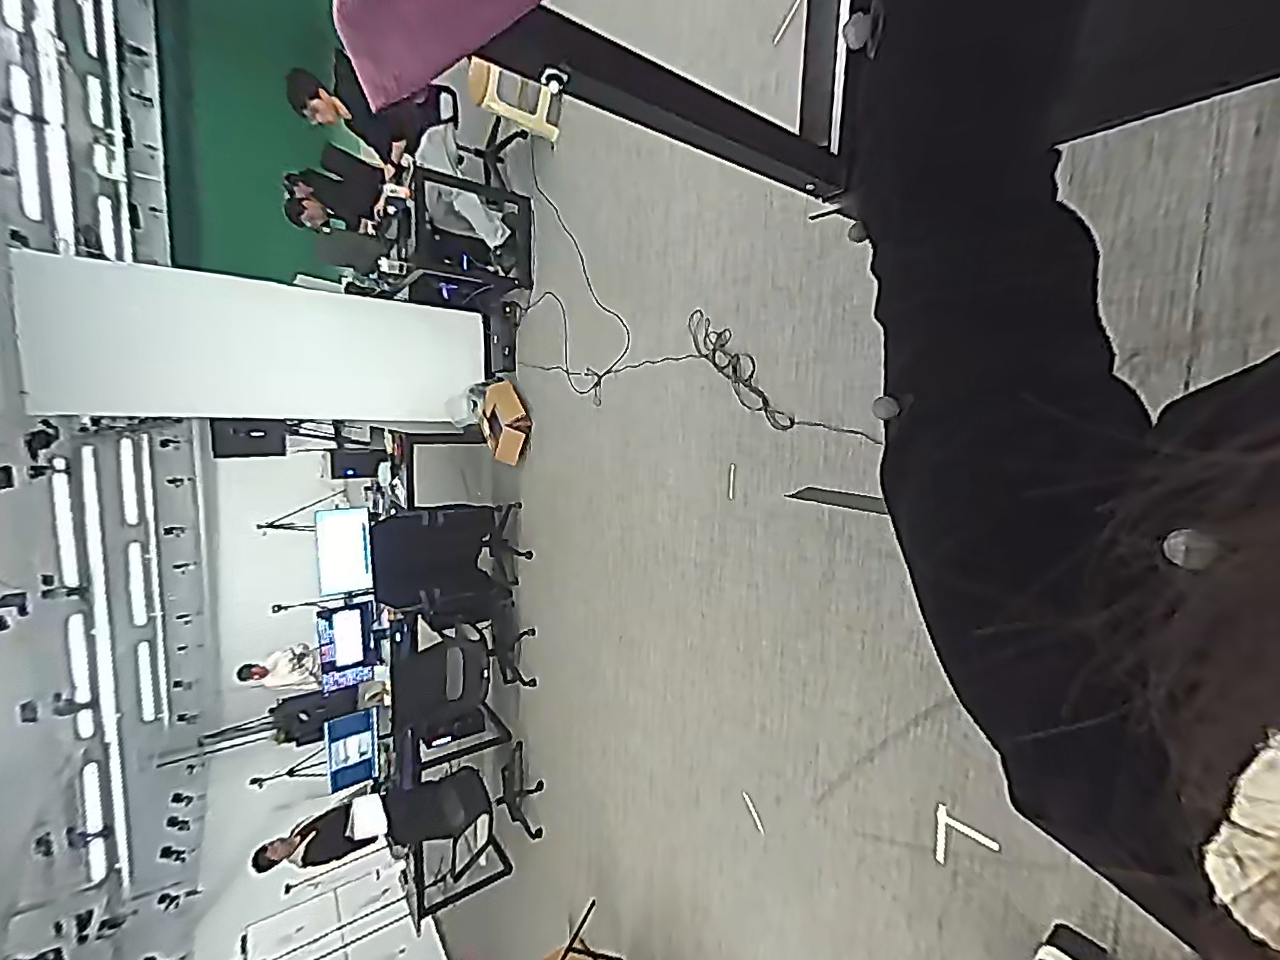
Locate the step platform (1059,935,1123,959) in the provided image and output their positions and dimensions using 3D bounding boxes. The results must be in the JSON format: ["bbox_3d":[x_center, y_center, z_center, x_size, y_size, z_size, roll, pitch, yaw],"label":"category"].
[{"bbox_3d":[1.140,1.273,0.998,0.684,0.204,0.286,20,109,51],"label":"step platform"}]
